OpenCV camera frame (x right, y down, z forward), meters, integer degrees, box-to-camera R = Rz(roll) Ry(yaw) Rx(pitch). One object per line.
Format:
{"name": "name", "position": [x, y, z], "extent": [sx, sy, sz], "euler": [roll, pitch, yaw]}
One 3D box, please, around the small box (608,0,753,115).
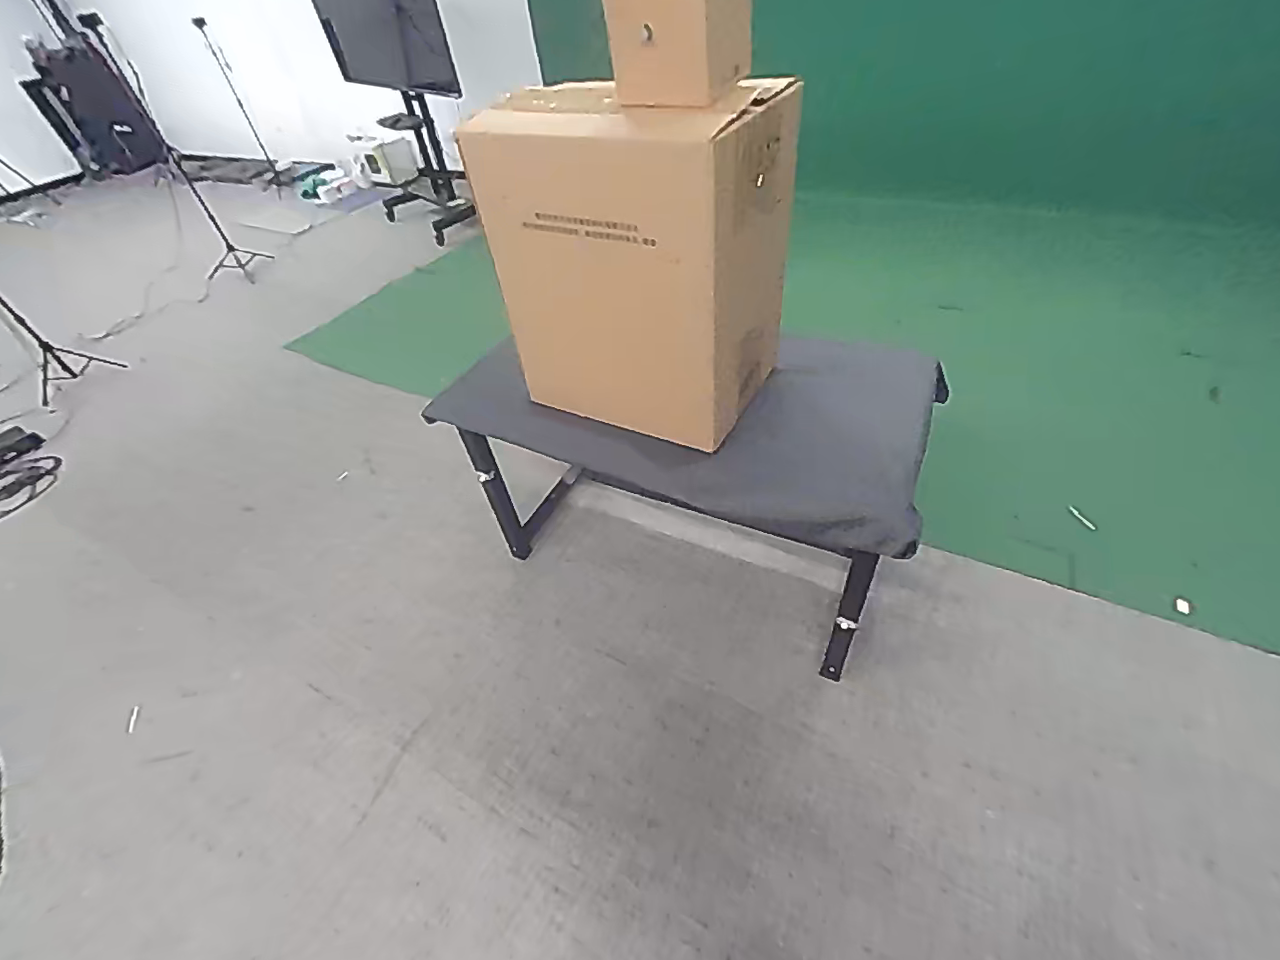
{"name": "small box", "position": [0.071, -0.715, 0.878], "extent": [0.179, 0.176, 0.168], "euler": [20, 57, 26]}
